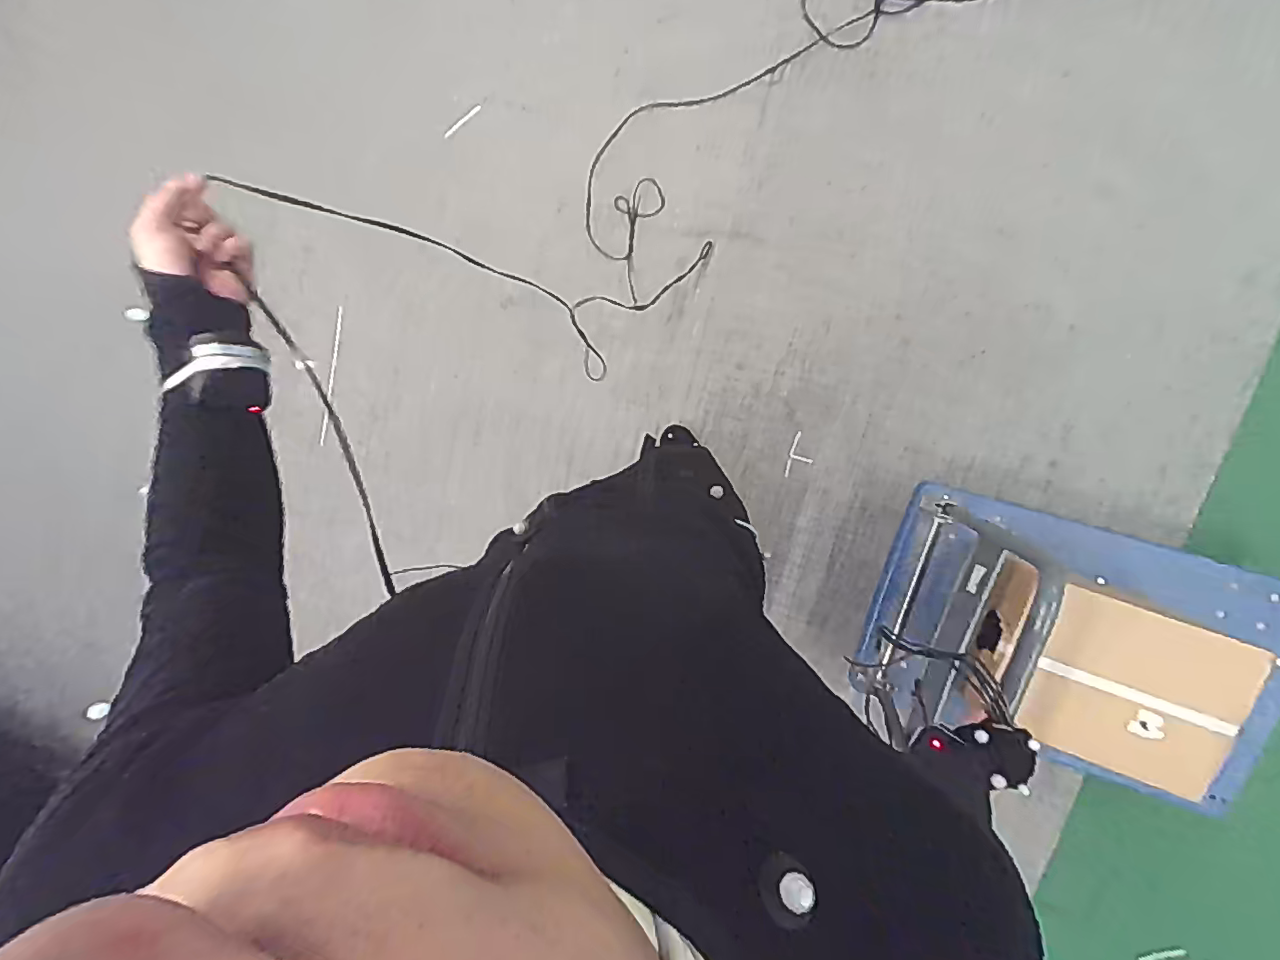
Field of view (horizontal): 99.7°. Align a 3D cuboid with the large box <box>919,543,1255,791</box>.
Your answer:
[{"bbox_3d":[0.898,0.365,1.163,0.408,0.320,0.320,19,100,8],"label":"large box"}]
